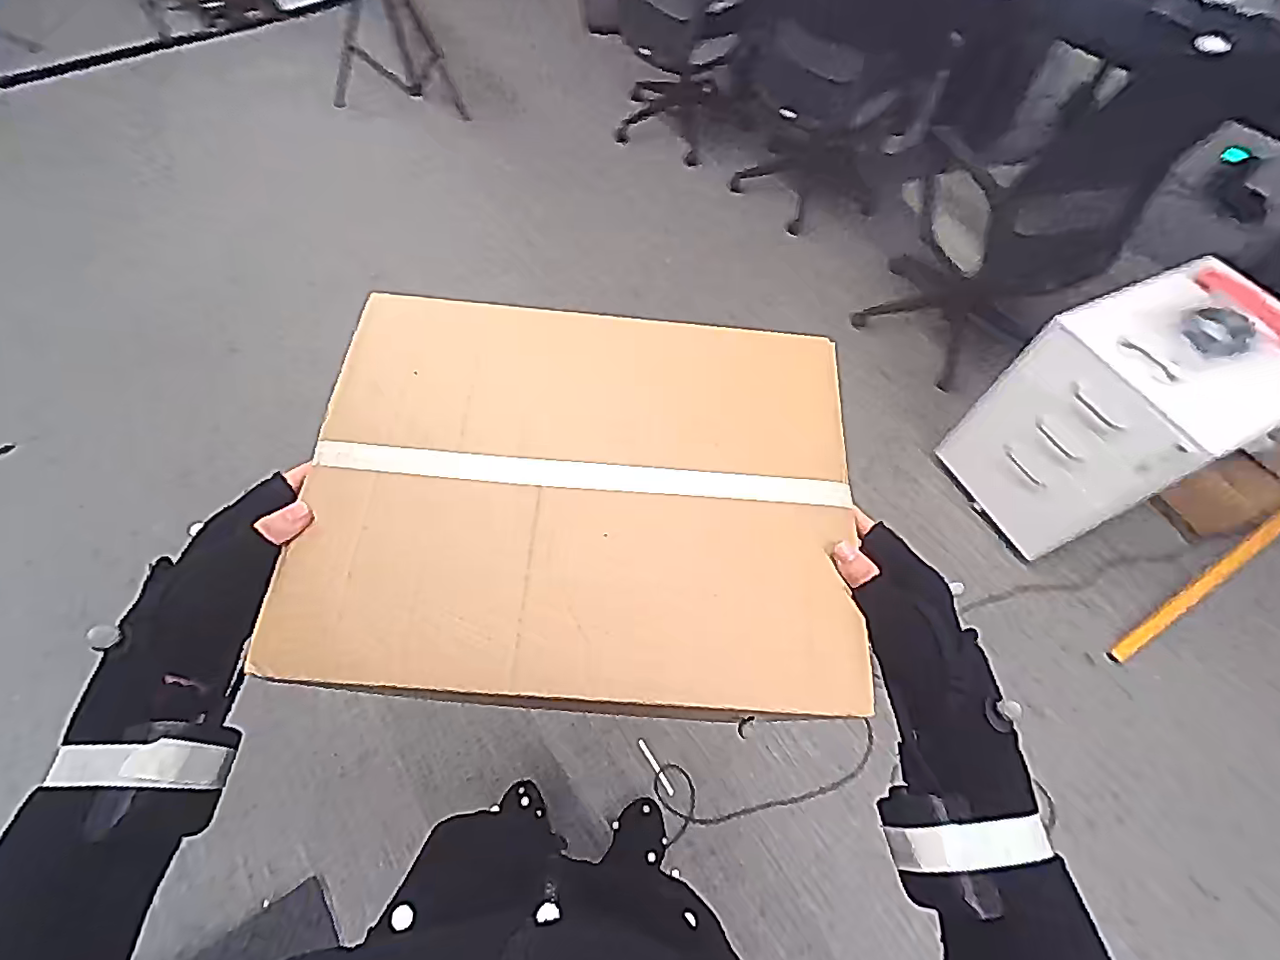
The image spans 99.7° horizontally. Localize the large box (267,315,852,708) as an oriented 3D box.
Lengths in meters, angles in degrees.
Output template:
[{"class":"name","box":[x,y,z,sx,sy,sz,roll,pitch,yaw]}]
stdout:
[{"class":"large box","box":[-0.053,0.064,0.559,0.408,0.320,0.320,4,65,-3]}]
